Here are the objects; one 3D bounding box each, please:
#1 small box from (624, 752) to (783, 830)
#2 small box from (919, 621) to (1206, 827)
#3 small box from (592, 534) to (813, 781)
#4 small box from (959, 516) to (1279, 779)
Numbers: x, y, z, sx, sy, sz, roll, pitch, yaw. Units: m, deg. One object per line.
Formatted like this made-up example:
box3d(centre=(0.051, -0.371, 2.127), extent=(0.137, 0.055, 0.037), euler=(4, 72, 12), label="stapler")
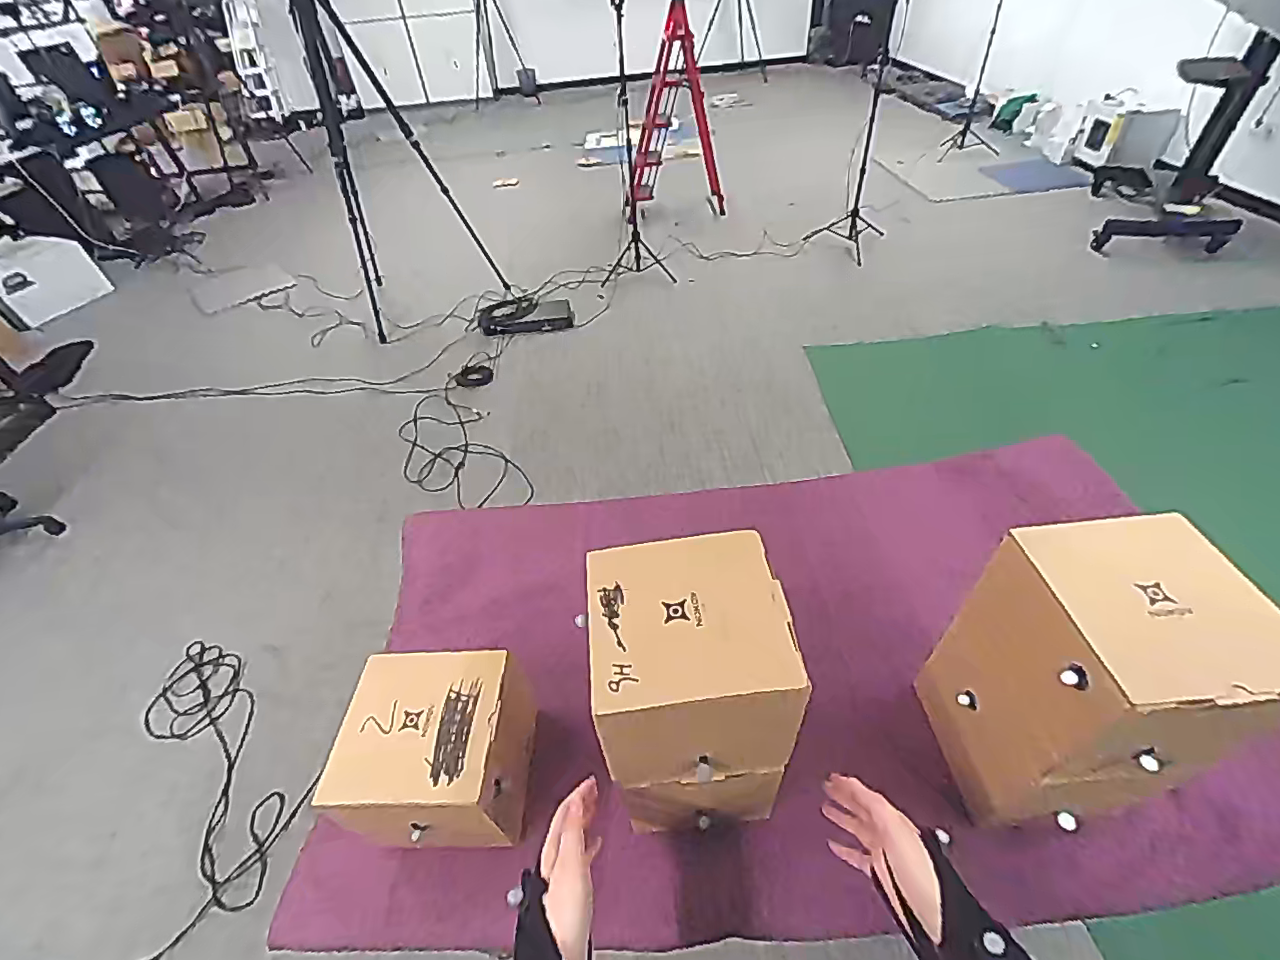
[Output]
box3d(centre=(0.061, 0.291, 0.649), extent=(0.168, 0.176, 0.179), euler=(-7, 44, 0), label="small box")
box3d(centre=(0.455, 0.276, 0.626), extent=(0.168, 0.176, 0.179), euler=(-5, 45, 1), label="small box")
box3d(centre=(0.048, 0.176, 0.533), extent=(0.179, 0.176, 0.168), euler=(-6, 43, -1), label="small box")
box3d(centre=(0.444, 0.159, 0.515), extent=(0.168, 0.176, 0.179), euler=(-6, 45, 0), label="small box")
